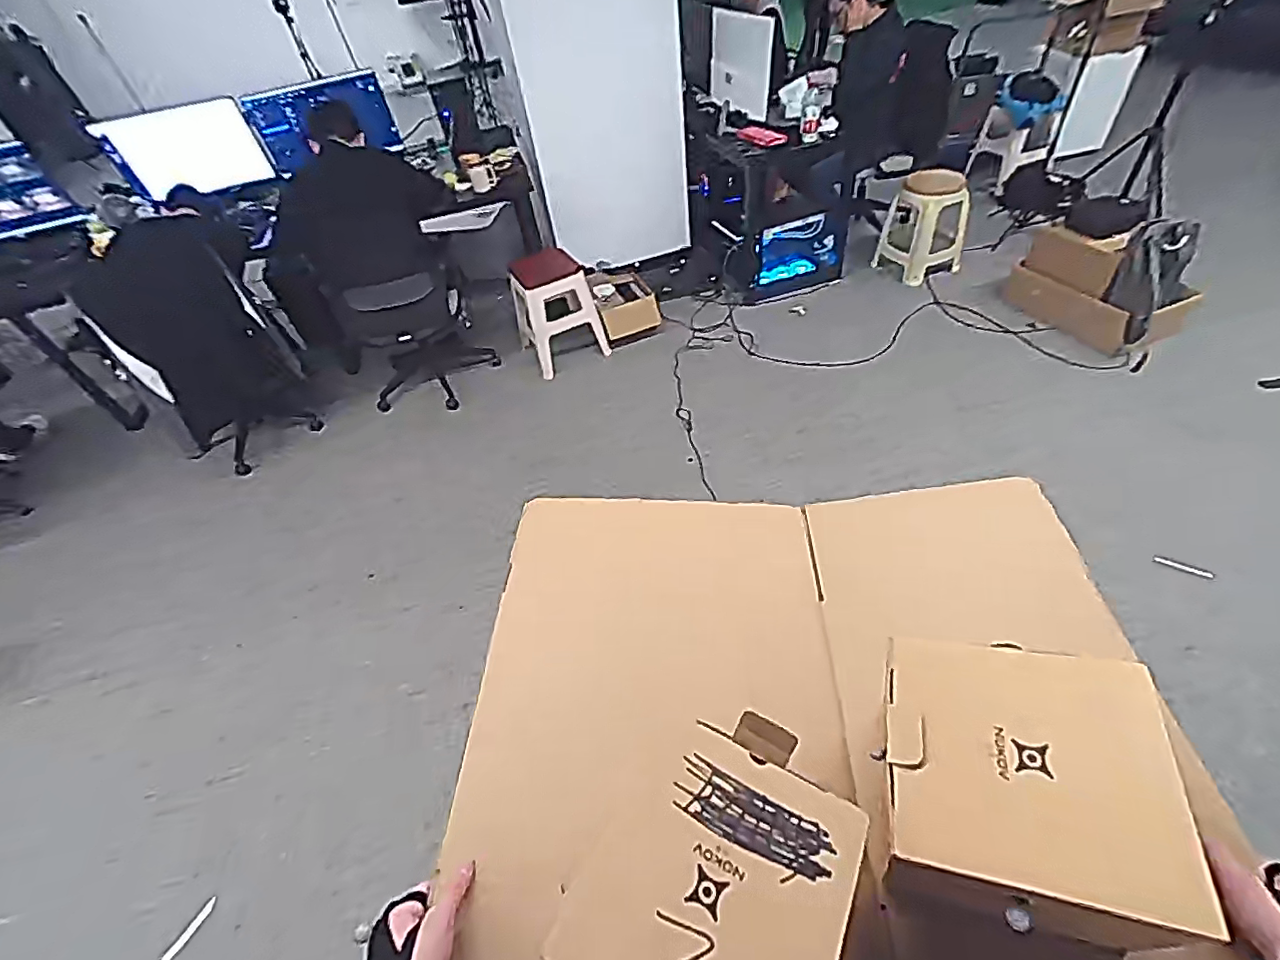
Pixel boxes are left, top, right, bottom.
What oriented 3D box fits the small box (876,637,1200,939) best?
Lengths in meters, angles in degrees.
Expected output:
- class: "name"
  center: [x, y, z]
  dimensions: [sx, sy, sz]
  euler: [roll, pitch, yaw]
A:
- class: "small box"
  center: [0.297, 0.254, 0.454]
  dimensions: [0.179, 0.176, 0.168]
  euler: [1, 50, 24]
